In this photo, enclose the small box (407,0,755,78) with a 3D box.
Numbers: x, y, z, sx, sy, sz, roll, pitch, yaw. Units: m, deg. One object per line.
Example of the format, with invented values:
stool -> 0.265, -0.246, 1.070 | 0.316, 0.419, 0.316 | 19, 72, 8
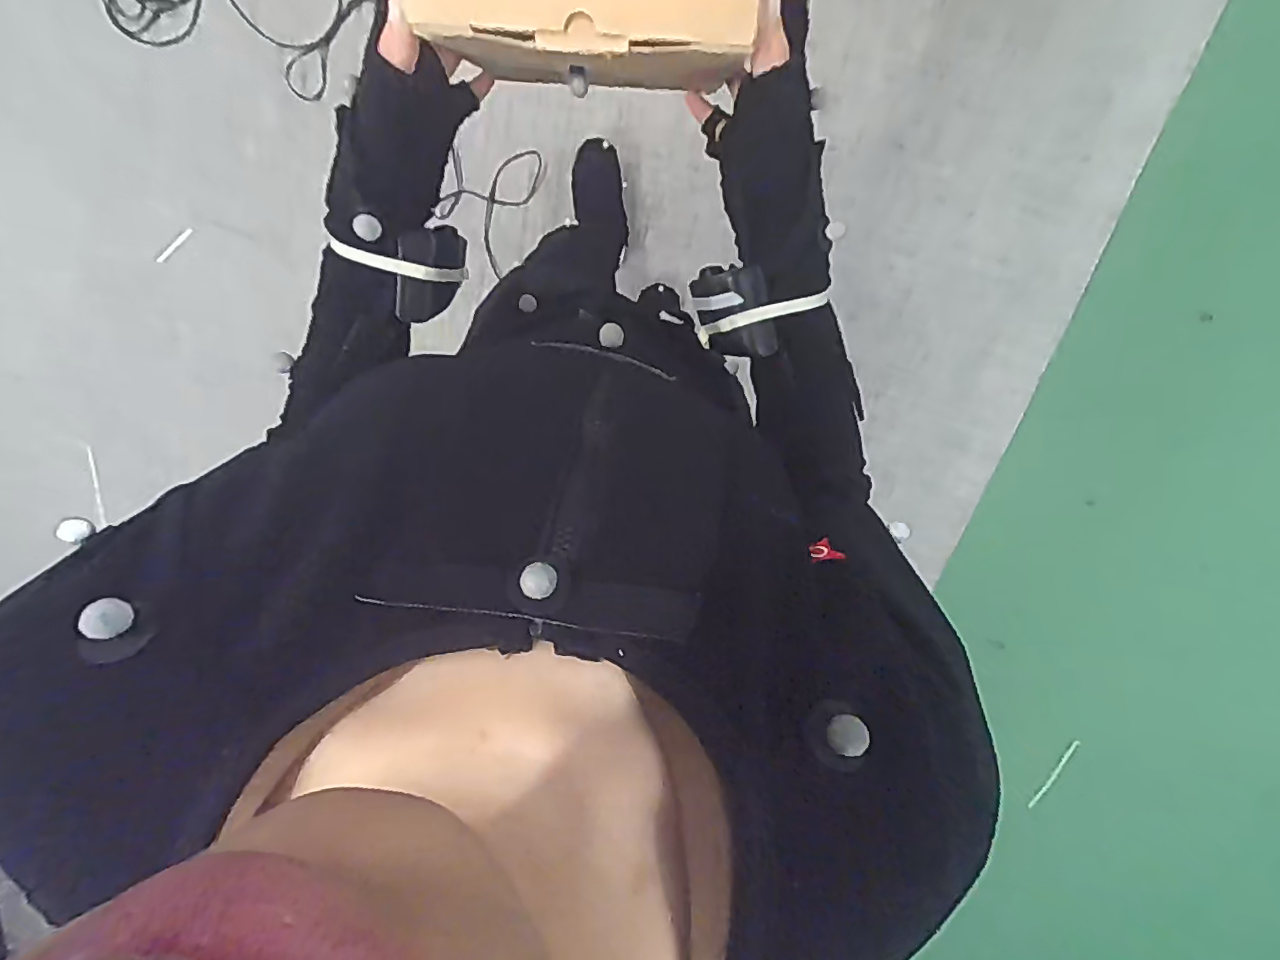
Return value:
small box -> -0.024, -0.327, 0.274 | 0.168, 0.176, 0.179 | 3, 121, 0
